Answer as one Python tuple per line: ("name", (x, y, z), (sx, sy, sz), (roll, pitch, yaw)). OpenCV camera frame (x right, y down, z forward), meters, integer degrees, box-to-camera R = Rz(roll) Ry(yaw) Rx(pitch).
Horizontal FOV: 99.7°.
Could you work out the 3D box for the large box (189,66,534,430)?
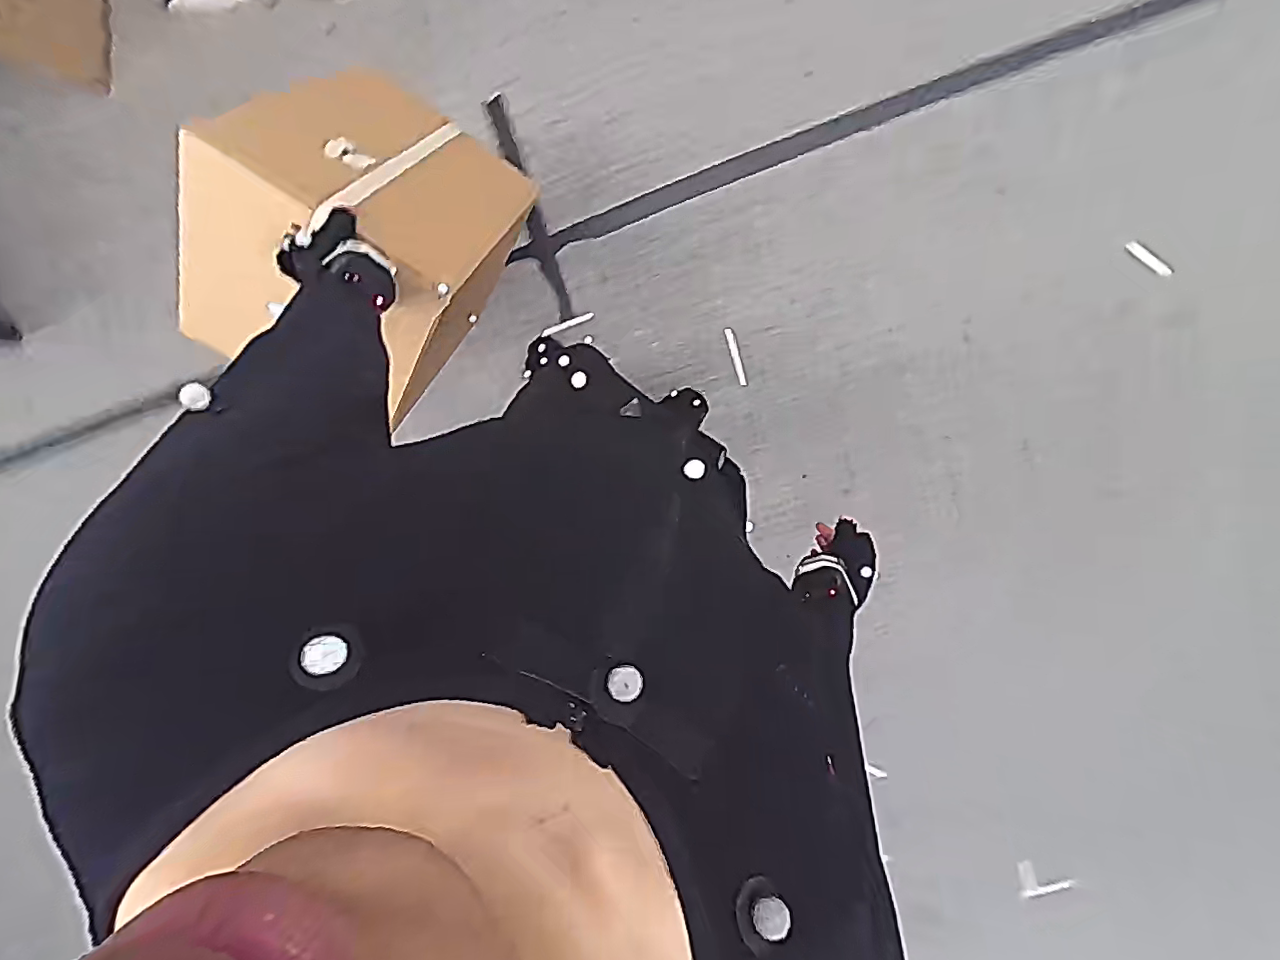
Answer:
("large box", (-0.420, -0.365, 0.867), (0.320, 0.408, 0.320), (31, 134, -18))
